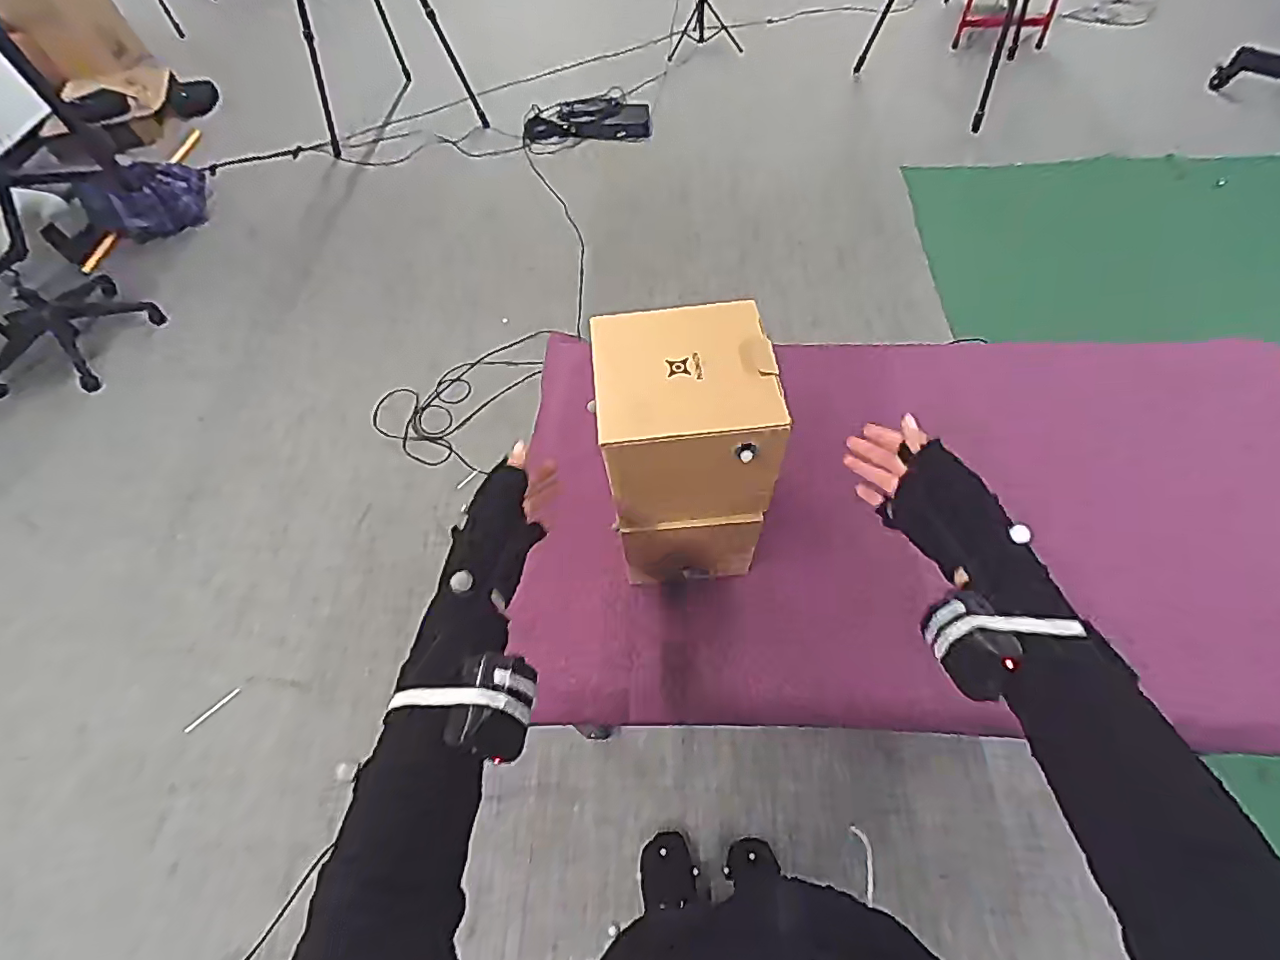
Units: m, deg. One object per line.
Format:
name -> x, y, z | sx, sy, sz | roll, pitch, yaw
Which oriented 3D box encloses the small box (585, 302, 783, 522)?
small box -> 0.042, -0.065, 0.590 | 0.179, 0.176, 0.168 | -7, 59, 0
